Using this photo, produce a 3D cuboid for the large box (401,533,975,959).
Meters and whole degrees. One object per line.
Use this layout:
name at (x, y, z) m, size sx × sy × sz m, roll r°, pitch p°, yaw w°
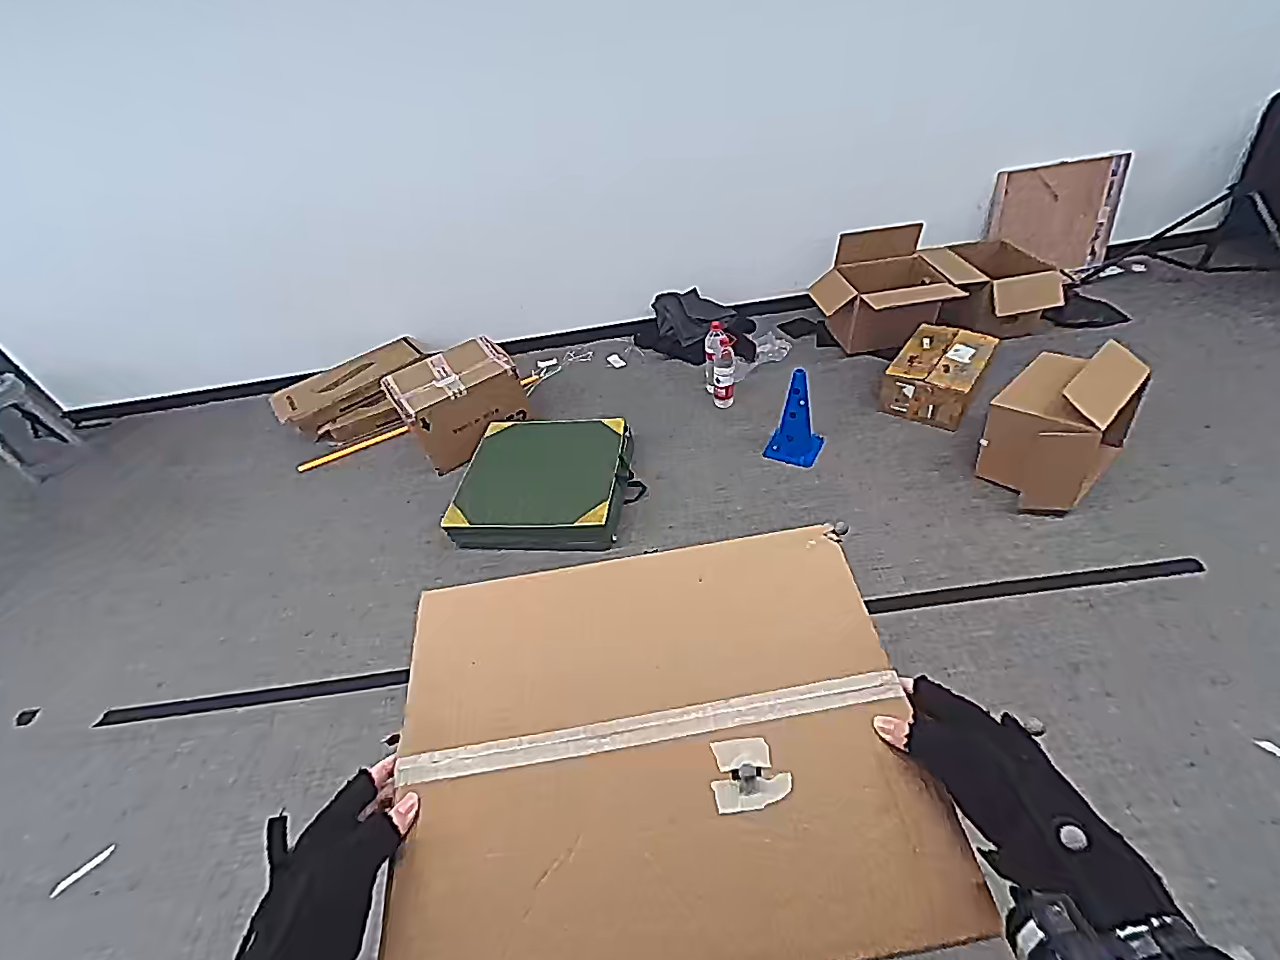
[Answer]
large box at (0.024, 0.297, 0.566) m, size 0.408 × 0.320 × 0.320 m, roll -10°, pitch 53°, yaw -1°
